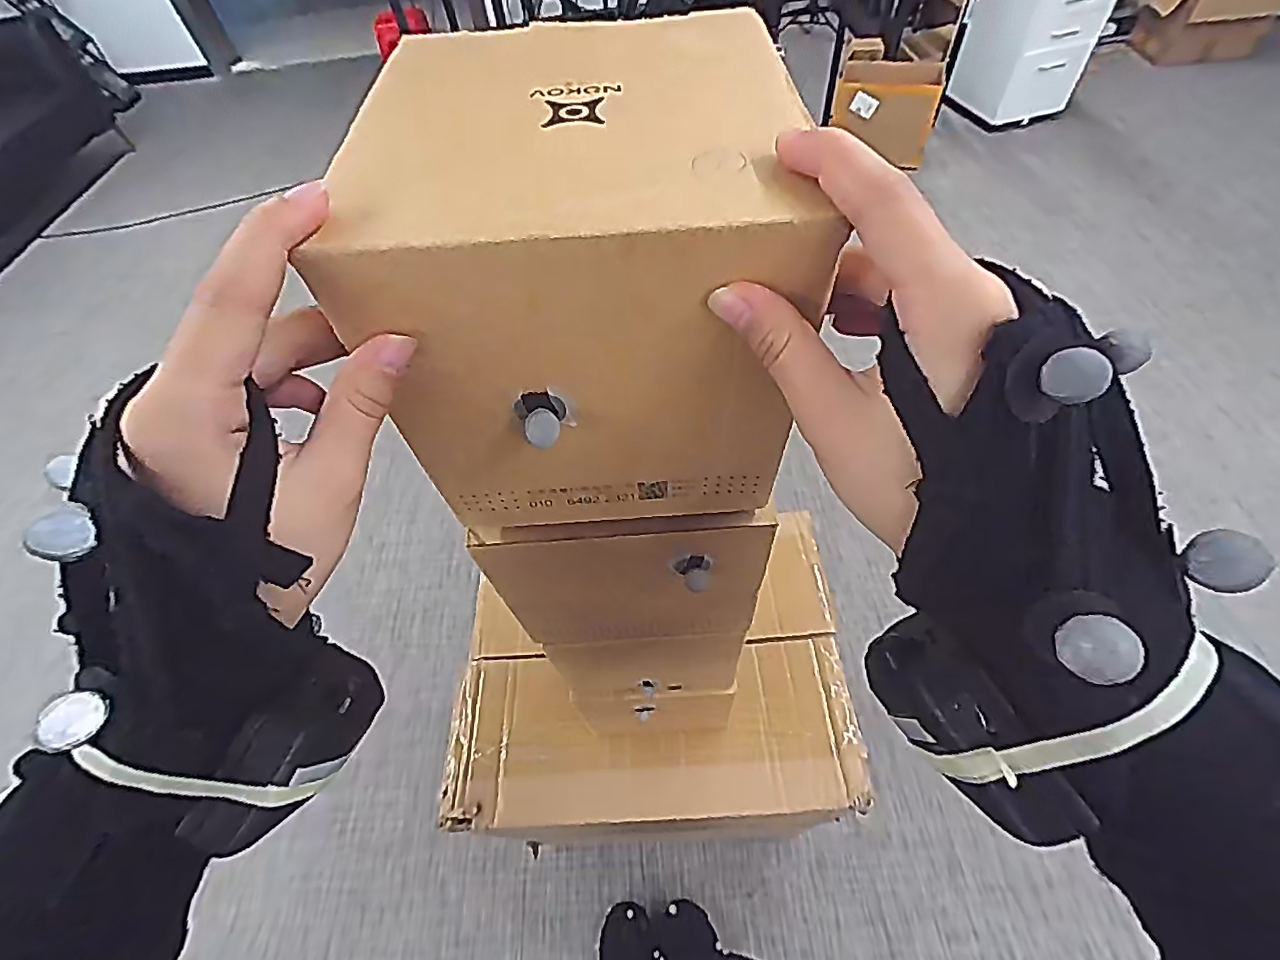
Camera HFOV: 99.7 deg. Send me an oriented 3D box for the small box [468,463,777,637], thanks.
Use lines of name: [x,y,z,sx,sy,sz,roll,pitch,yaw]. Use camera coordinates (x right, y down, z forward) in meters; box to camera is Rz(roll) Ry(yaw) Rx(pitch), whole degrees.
small box: [-0.008,0.009,0.409,0.179,0.176,0.168,-5,54,3]

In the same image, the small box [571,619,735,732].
small box: [0.018,0.207,0.672,0.179,0.176,0.168,-4,54,2]

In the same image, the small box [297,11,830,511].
small box: [-0.023,-0.095,0.272,0.168,0.176,0.179,-4,55,0]
